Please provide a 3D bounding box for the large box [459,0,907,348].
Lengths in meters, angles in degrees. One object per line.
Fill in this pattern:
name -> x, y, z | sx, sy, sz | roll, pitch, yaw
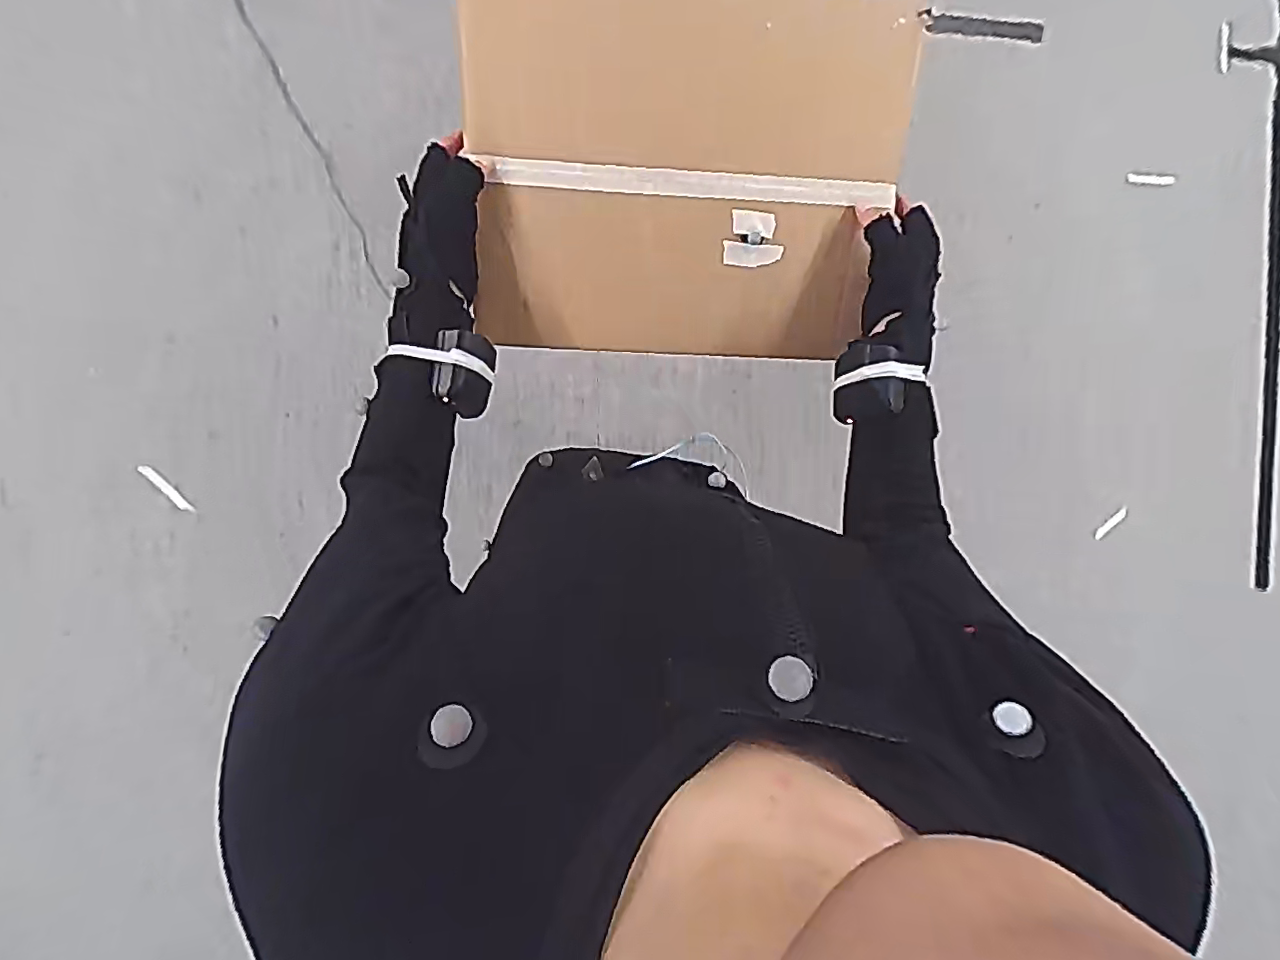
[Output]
large box -> 0.025, -0.338, 0.657 | 0.408, 0.320, 0.320 | 0, 111, -6
